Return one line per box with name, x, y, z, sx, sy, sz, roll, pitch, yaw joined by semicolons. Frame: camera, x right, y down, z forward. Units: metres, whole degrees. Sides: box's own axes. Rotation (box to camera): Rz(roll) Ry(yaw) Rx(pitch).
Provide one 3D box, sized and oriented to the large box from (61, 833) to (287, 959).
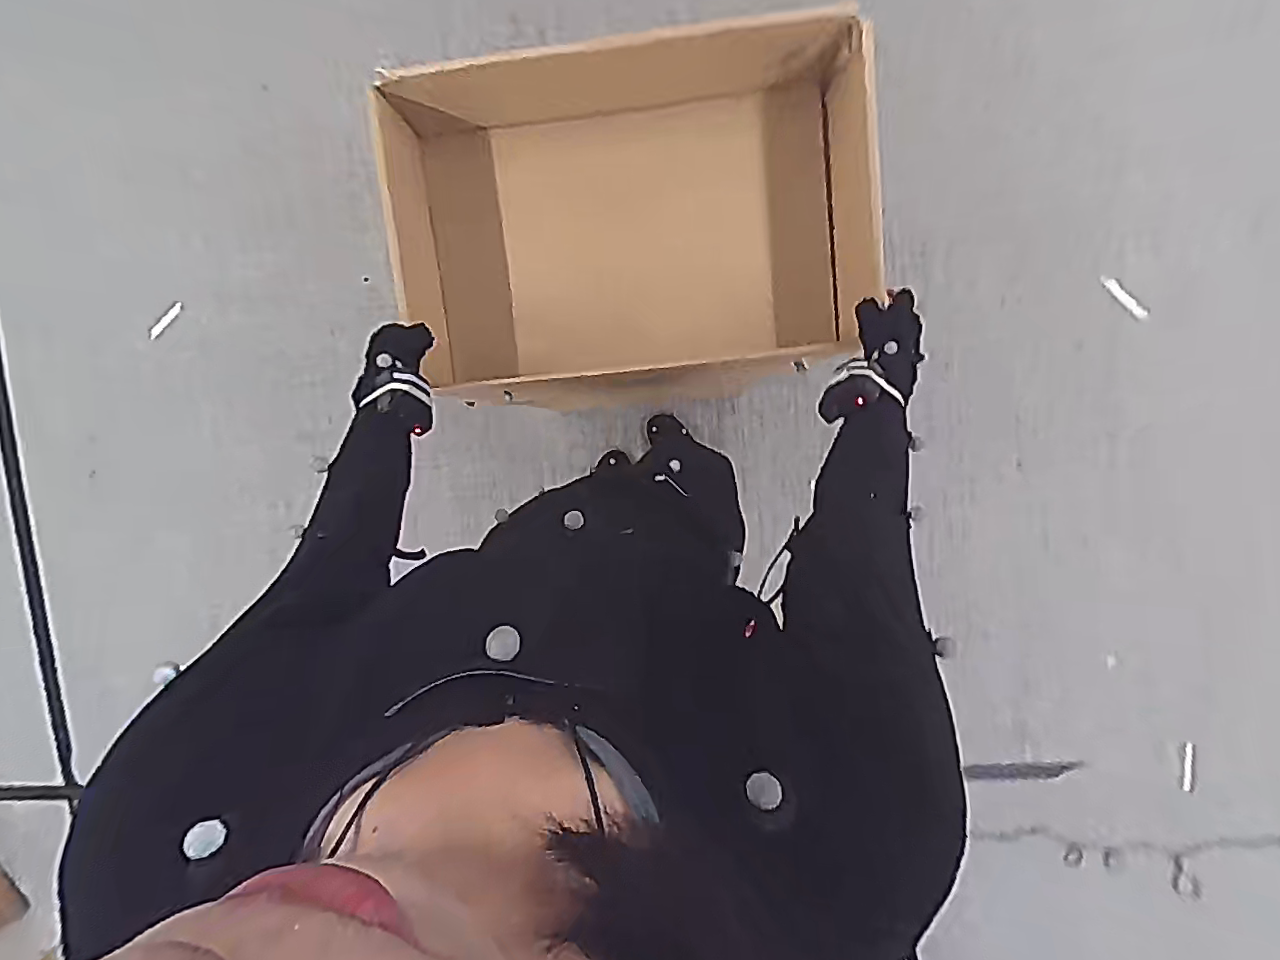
large box;-1.264;1.292;1.506;0.320;0.320;0.408;-8;94;1
